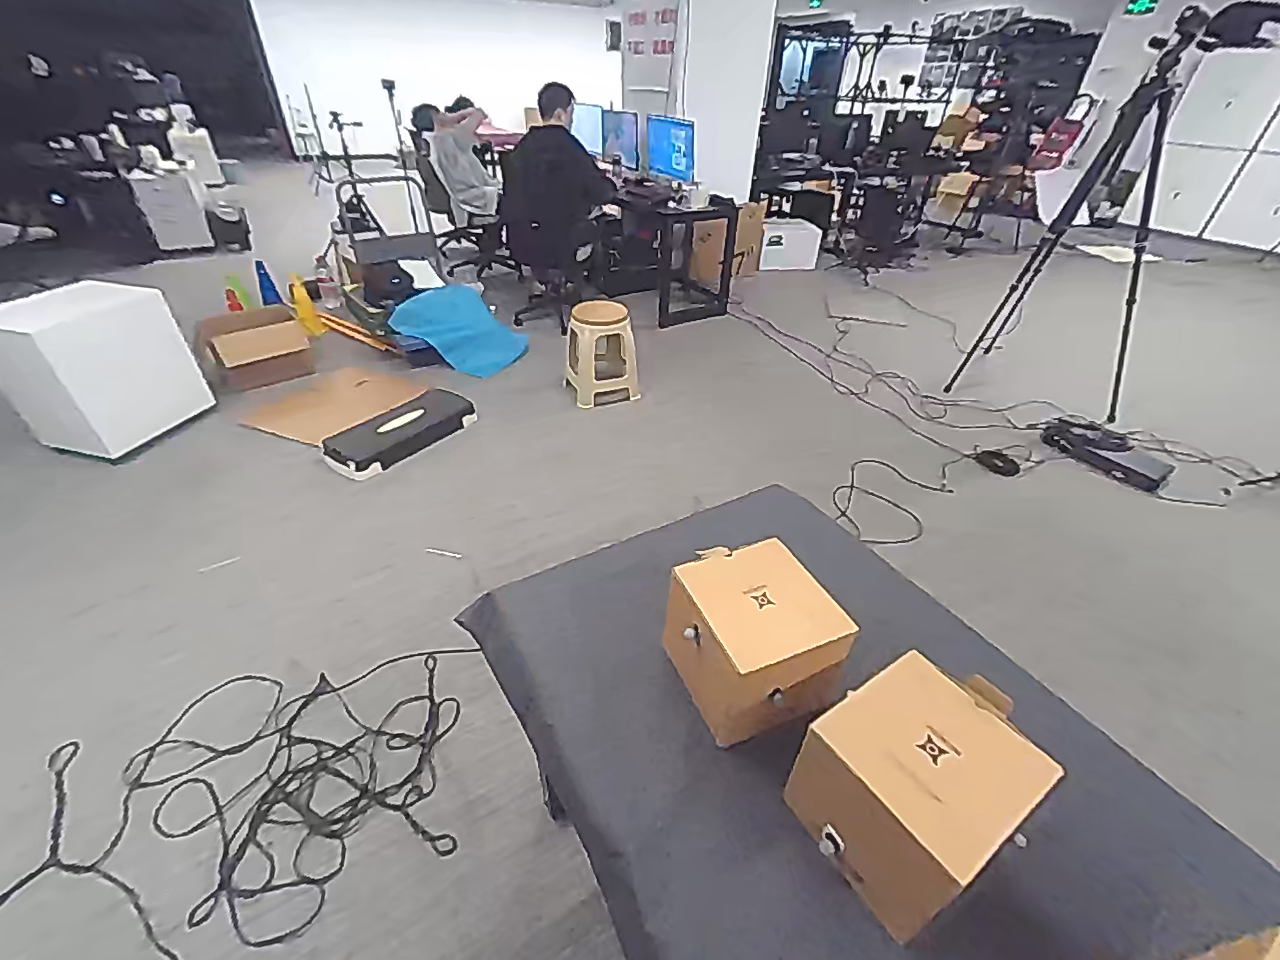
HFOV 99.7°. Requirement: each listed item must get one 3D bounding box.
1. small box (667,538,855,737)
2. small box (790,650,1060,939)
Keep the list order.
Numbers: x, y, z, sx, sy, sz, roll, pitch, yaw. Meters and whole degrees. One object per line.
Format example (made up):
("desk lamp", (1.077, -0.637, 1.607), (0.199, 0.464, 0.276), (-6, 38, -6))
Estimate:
("small box", (0.147, 0.211, 0.721), (0.168, 0.176, 0.179), (-12, 39, -20))
("small box", (0.284, 0.325, 0.575), (0.179, 0.176, 0.168), (-20, 41, -28))
